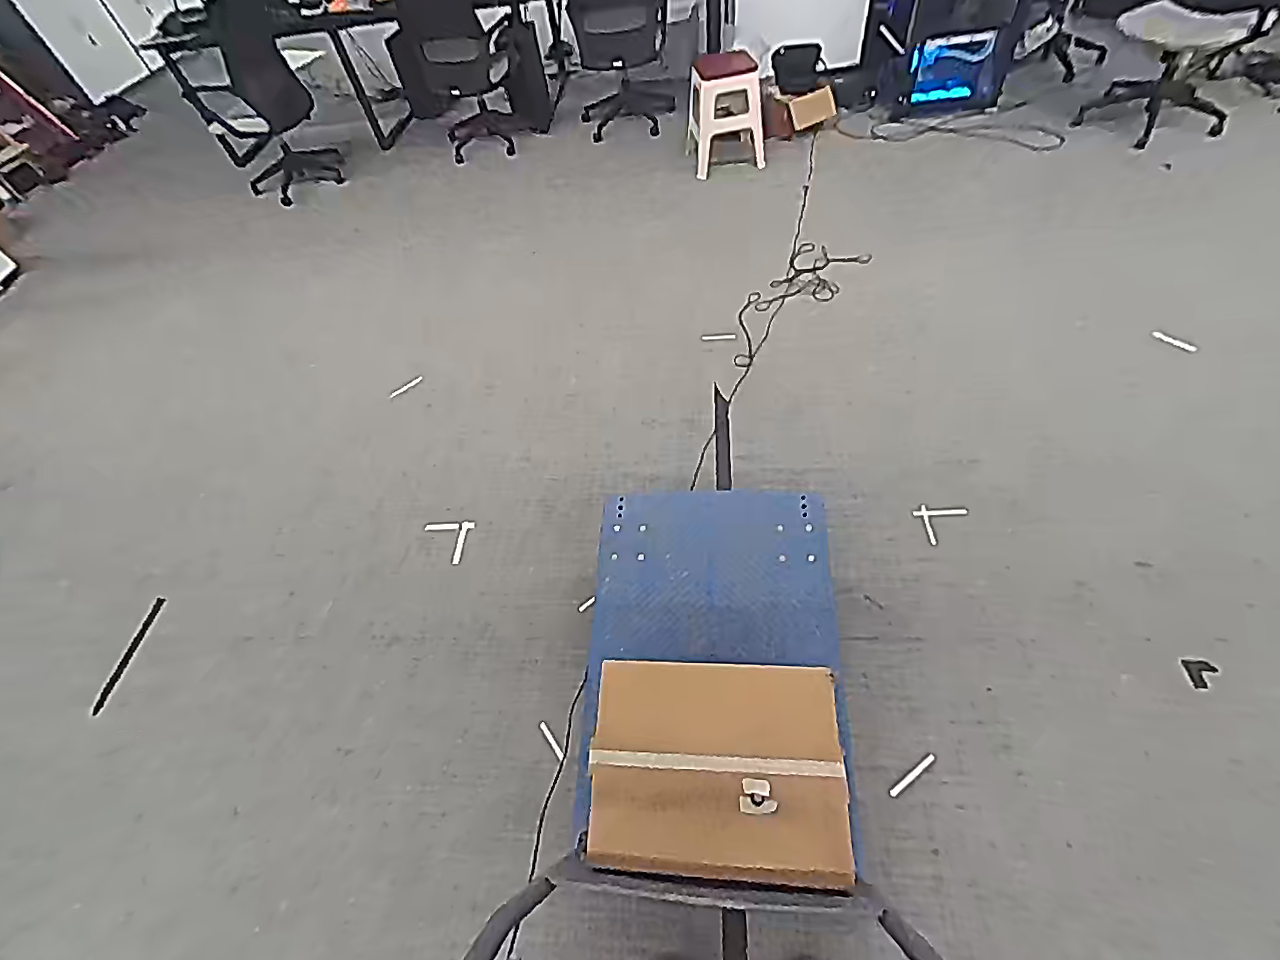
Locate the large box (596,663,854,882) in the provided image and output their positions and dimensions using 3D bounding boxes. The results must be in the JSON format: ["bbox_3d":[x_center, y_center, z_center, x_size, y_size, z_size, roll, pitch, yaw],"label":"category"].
[{"bbox_3d":[0.146,0.539,1.027,0.408,0.320,0.320,-1,63,7],"label":"large box"}]
